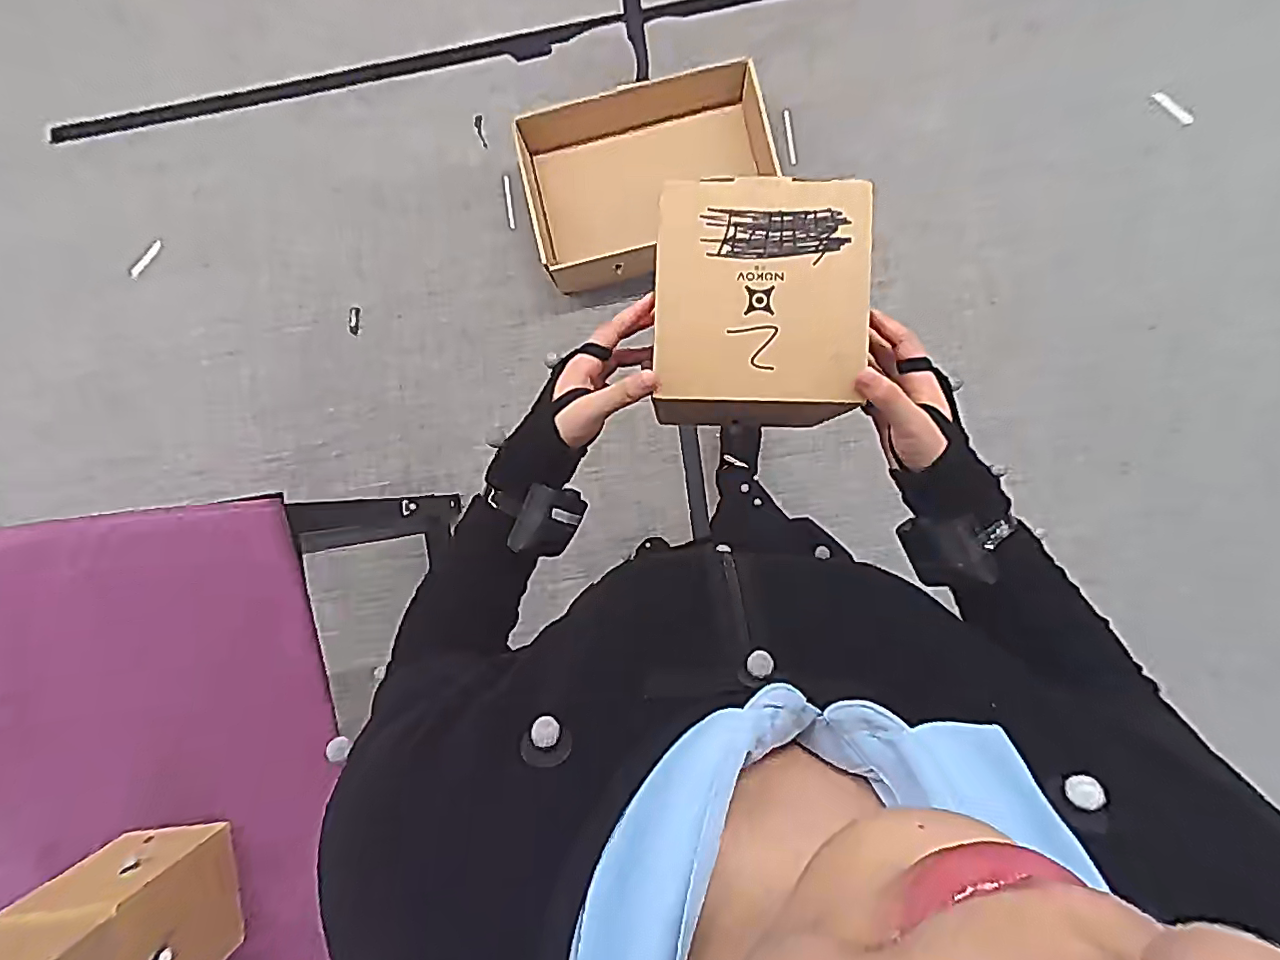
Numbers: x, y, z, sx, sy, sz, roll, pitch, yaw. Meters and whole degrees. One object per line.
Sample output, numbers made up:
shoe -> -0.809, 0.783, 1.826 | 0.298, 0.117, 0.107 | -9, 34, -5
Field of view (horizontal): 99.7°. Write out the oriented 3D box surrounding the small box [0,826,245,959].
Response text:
small box -> -0.668, 0.589, 0.715 | 0.168, 0.176, 0.179 | -8, 89, 3

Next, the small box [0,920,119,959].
small box -> -0.684, 0.594, 0.550 | 0.179, 0.176, 0.168 | -8, 89, 3
